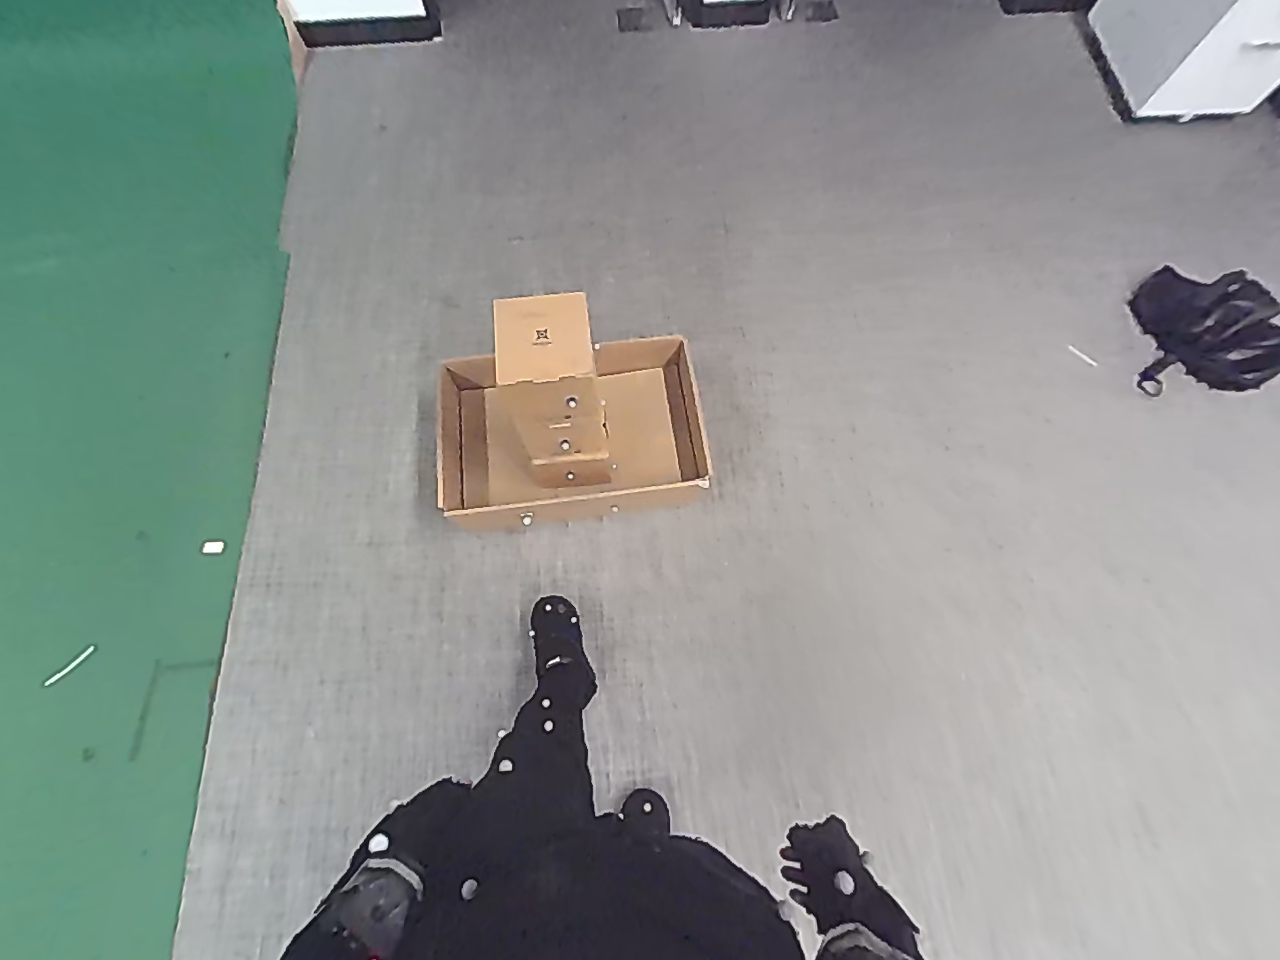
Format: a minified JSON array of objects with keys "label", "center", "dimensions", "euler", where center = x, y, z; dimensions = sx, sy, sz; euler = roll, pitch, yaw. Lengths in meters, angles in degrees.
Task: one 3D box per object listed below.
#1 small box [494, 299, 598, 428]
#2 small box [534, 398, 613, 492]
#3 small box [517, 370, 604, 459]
[{"label":"small box","center":[-0.170,-0.209,1.012],"dimensions":[0.168,0.176,0.179],"euler":[-7,69,-4]},{"label":"small box","center":[-0.161,-0.081,1.312],"dimensions":[0.179,0.176,0.168],"euler":[-7,70,-4]},{"label":"small box","center":[-0.170,-0.154,1.165],"dimensions":[0.168,0.176,0.179],"euler":[-7,70,-3]}]
